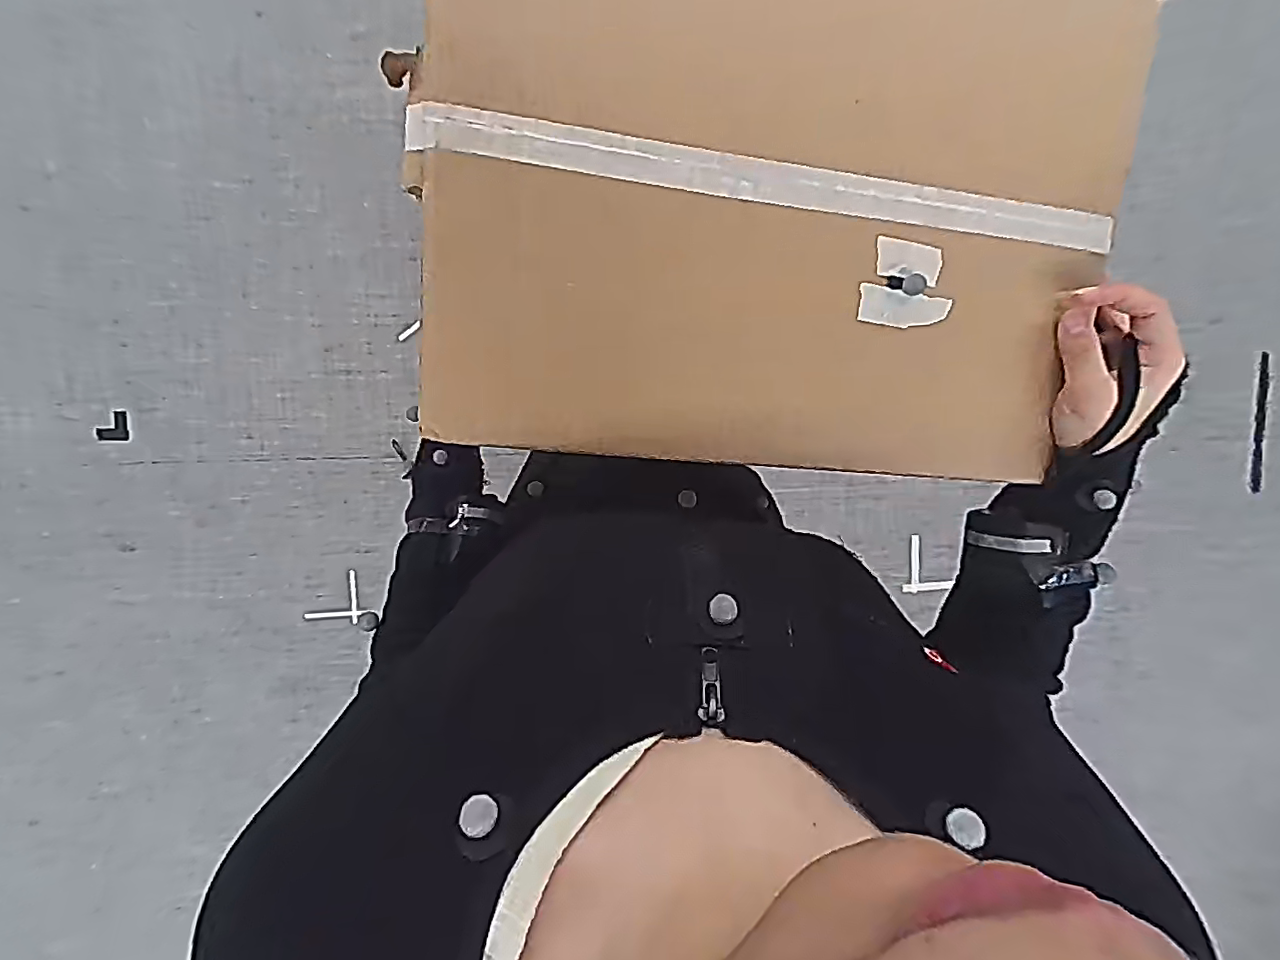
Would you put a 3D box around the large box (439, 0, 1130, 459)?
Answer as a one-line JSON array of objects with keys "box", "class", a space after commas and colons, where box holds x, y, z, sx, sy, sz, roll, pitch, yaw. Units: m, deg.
[{"box": [0.064, -0.199, 0.454, 0.408, 0.320, 0.320, 3, 101, -12], "class": "large box"}]
